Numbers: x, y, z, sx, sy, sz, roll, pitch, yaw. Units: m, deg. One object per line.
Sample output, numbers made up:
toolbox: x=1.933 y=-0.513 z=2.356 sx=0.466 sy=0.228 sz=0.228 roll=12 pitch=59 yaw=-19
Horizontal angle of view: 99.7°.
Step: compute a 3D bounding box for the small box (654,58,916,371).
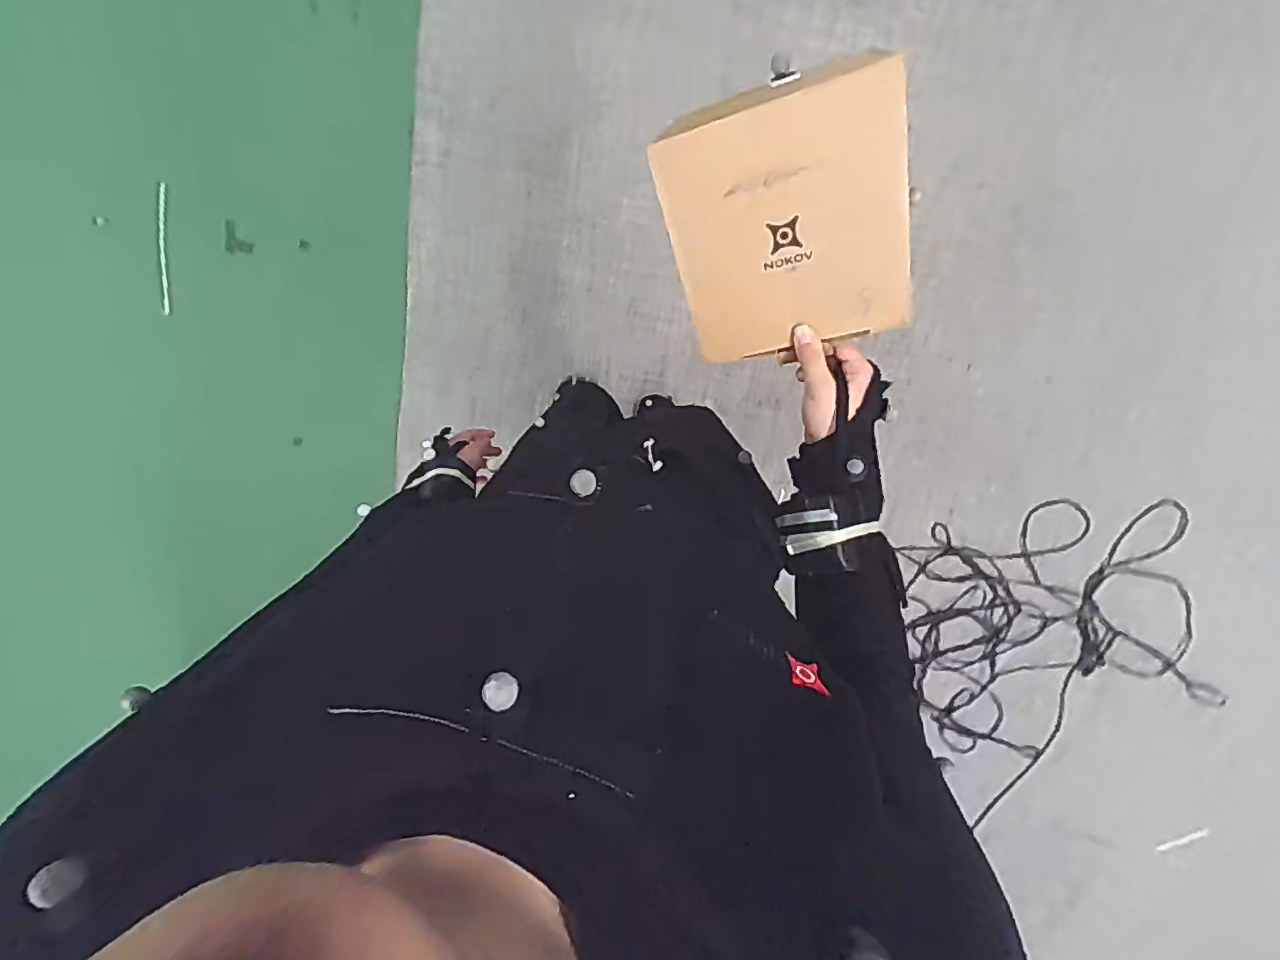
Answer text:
small box: x=0.127 y=-0.220 z=0.454 sx=0.168 sy=0.176 sz=0.179 roll=-8 pitch=126 yaw=21
